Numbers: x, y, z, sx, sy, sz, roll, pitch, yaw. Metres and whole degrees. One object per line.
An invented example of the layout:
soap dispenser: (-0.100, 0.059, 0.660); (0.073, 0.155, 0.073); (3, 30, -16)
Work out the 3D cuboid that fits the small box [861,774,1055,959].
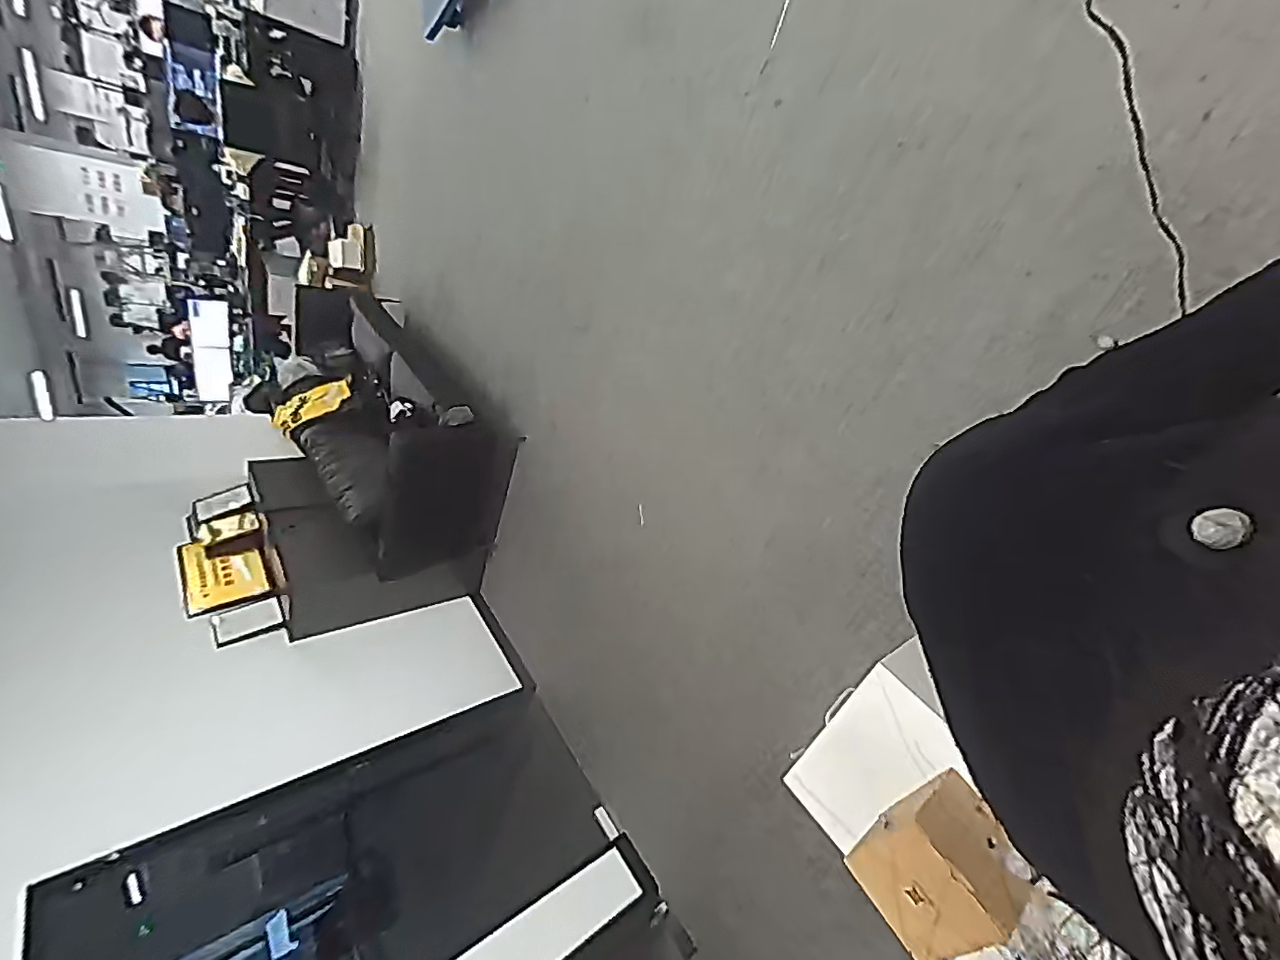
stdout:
small box: (0.492, 0.600, 0.838); (0.168, 0.176, 0.179); (50, 131, 32)
